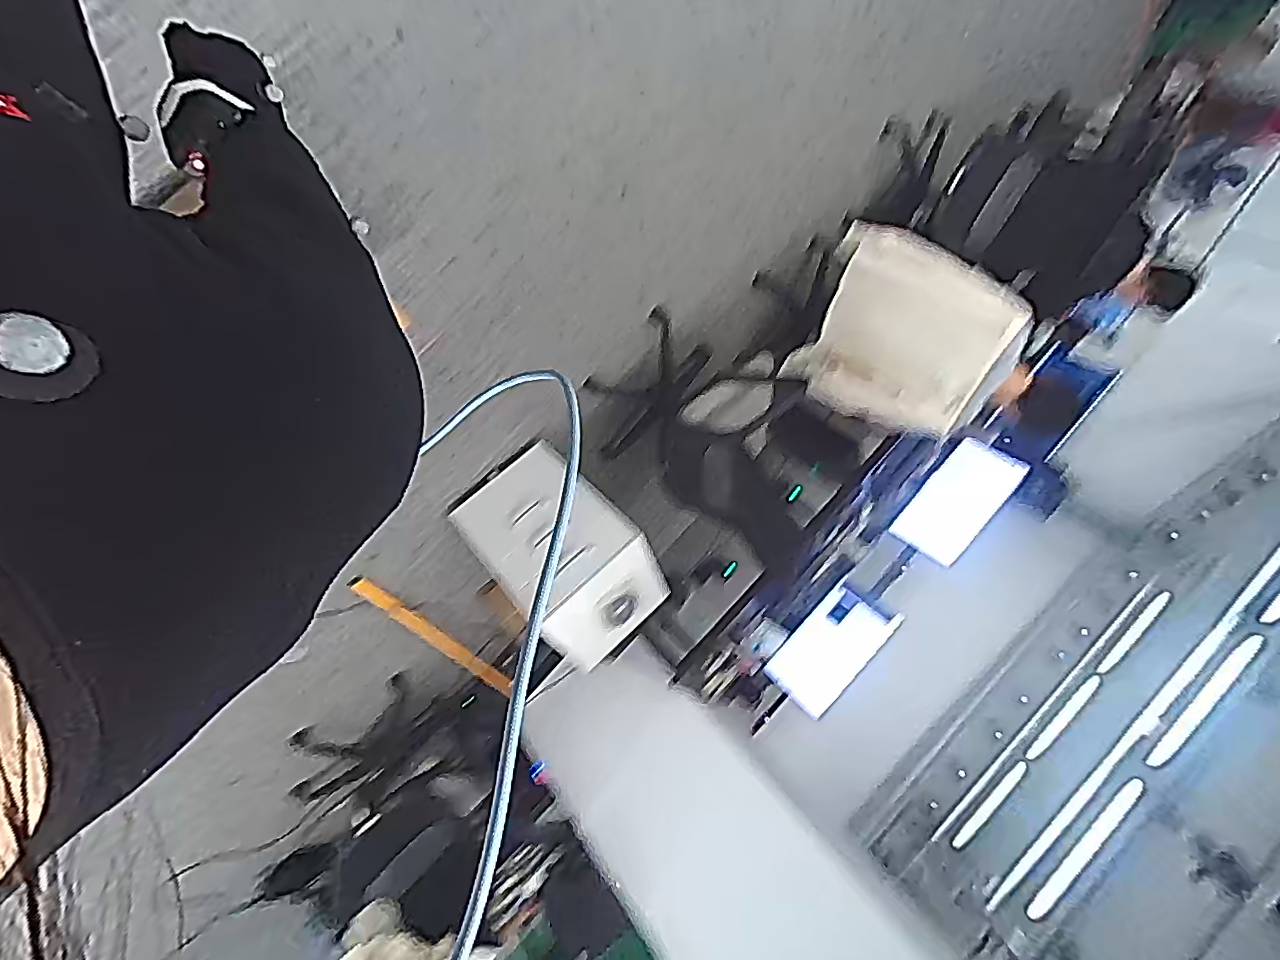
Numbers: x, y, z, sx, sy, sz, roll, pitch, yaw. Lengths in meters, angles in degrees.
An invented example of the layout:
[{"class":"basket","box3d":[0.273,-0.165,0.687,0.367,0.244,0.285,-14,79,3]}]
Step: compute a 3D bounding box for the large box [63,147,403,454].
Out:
[{"class":"large box","box3d":[-0.759,-0.335,1.030,0.408,0.320,0.320,-47,149,-5]}]
